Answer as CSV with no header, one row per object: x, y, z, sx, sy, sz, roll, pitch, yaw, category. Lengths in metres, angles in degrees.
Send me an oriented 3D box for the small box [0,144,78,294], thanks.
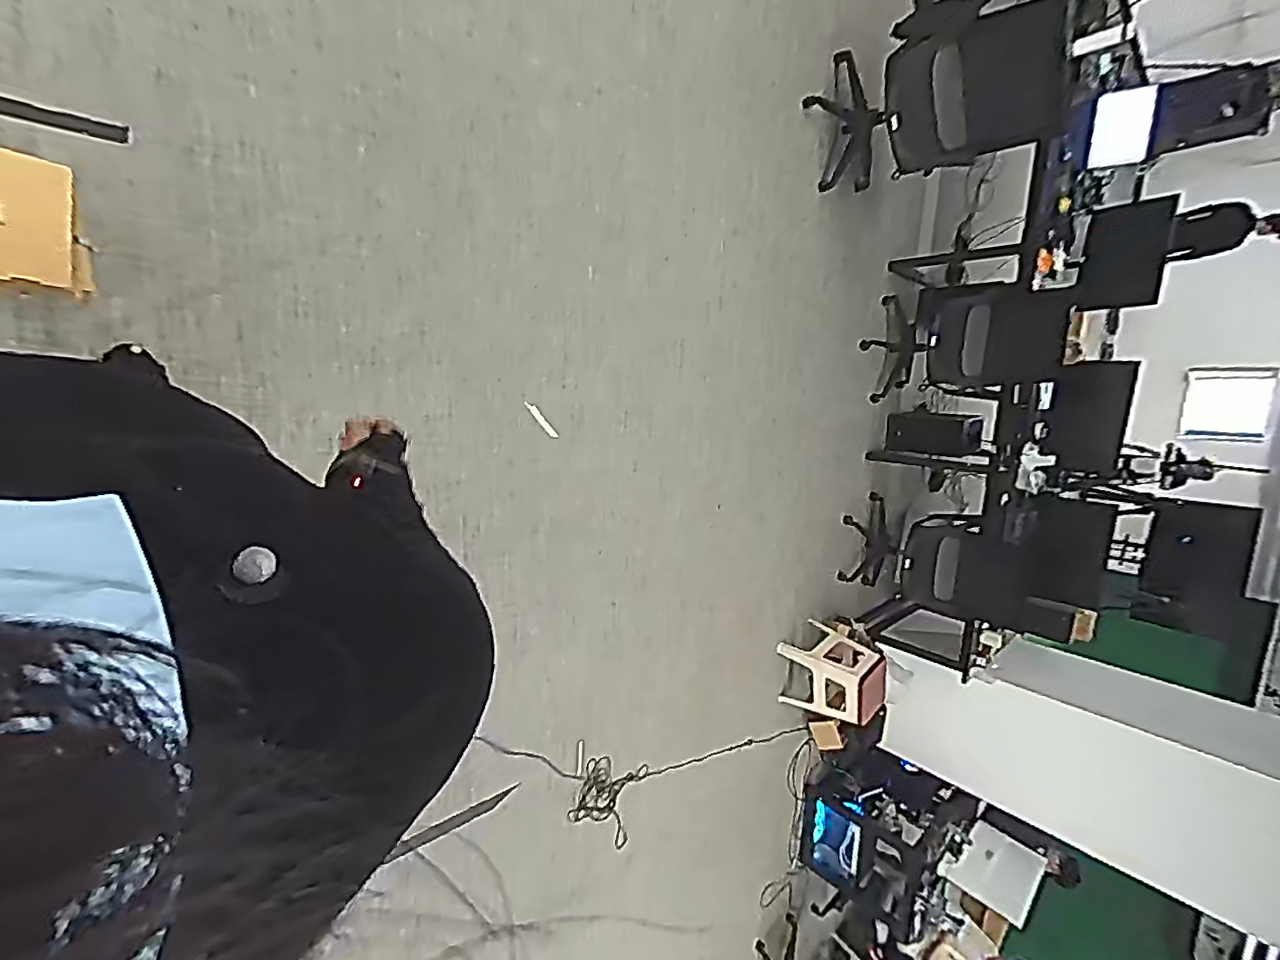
-0.948,-0.385,0.789,0.168,0.176,0.179,1,98,-44,small box

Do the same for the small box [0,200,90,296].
-1.055,-0.414,0.909,0.168,0.176,0.179,-8,103,-43,small box
